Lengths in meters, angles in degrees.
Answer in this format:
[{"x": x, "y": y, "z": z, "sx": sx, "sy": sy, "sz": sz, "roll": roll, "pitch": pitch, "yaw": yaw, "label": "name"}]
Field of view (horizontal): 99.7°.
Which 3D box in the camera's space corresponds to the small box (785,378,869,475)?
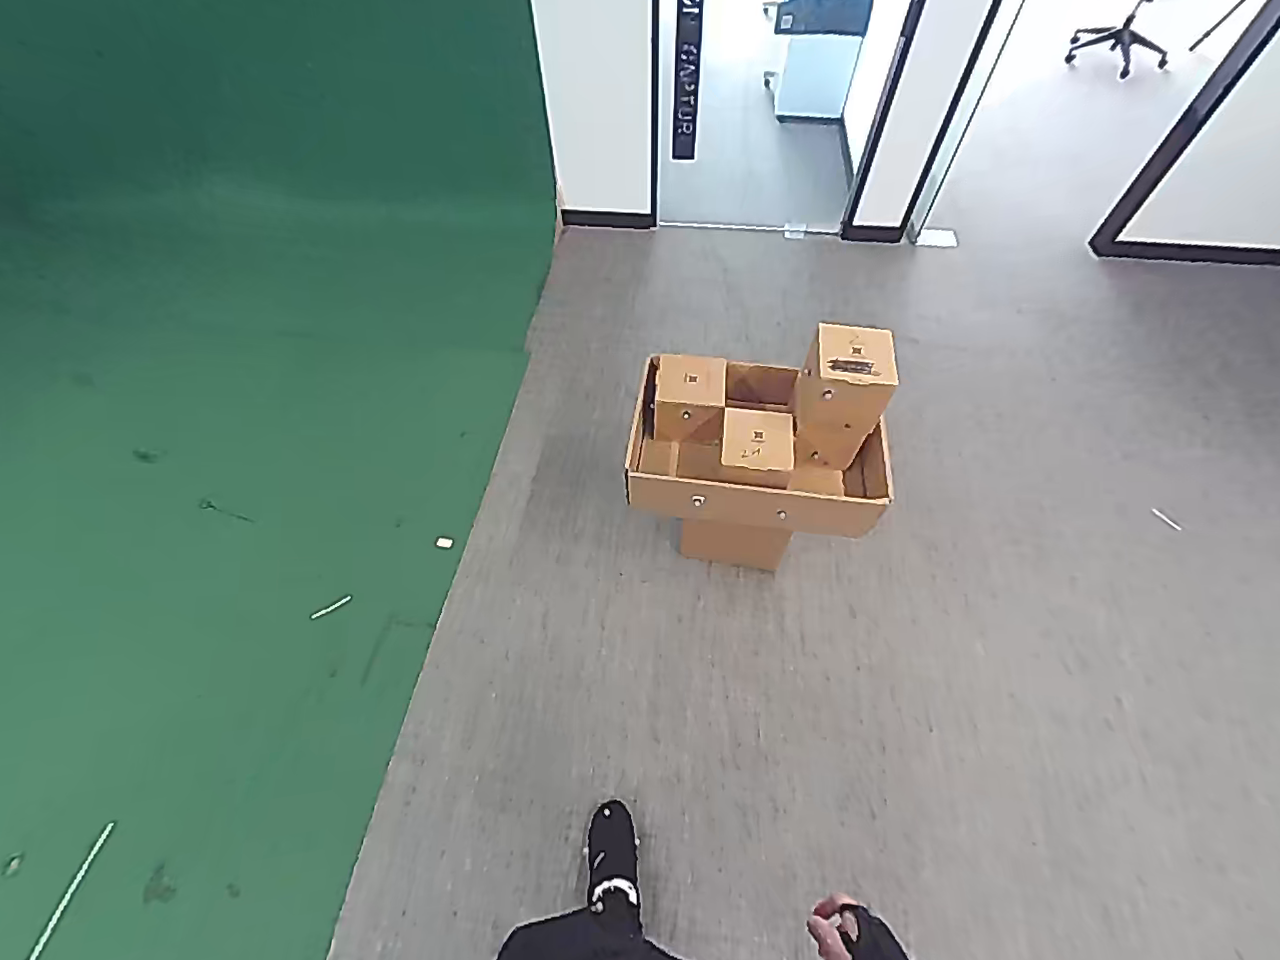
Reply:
[{"x": 0.477, "y": -0.137, "z": 1.399, "sx": 0.168, "sy": 0.176, "sz": 0.179, "roll": 7, "pitch": 57, "yaw": 5, "label": "small box"}]
